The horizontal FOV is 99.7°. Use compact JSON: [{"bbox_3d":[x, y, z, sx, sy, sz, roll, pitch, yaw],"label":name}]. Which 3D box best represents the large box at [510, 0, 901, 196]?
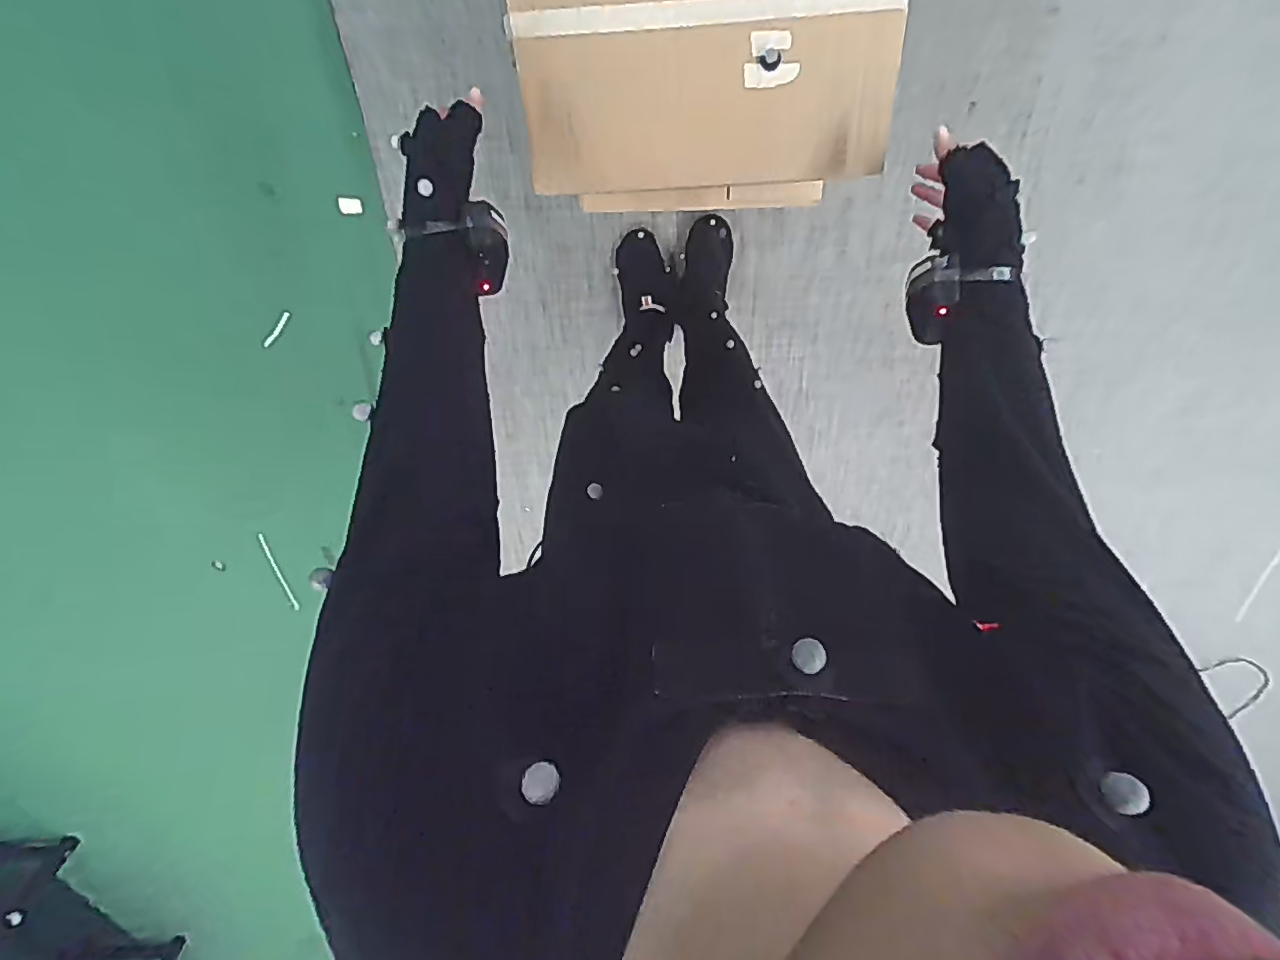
[{"bbox_3d":[0.064,-0.547,0.679,0.408,0.320,0.320,-3,117,1],"label":"large box"}]
